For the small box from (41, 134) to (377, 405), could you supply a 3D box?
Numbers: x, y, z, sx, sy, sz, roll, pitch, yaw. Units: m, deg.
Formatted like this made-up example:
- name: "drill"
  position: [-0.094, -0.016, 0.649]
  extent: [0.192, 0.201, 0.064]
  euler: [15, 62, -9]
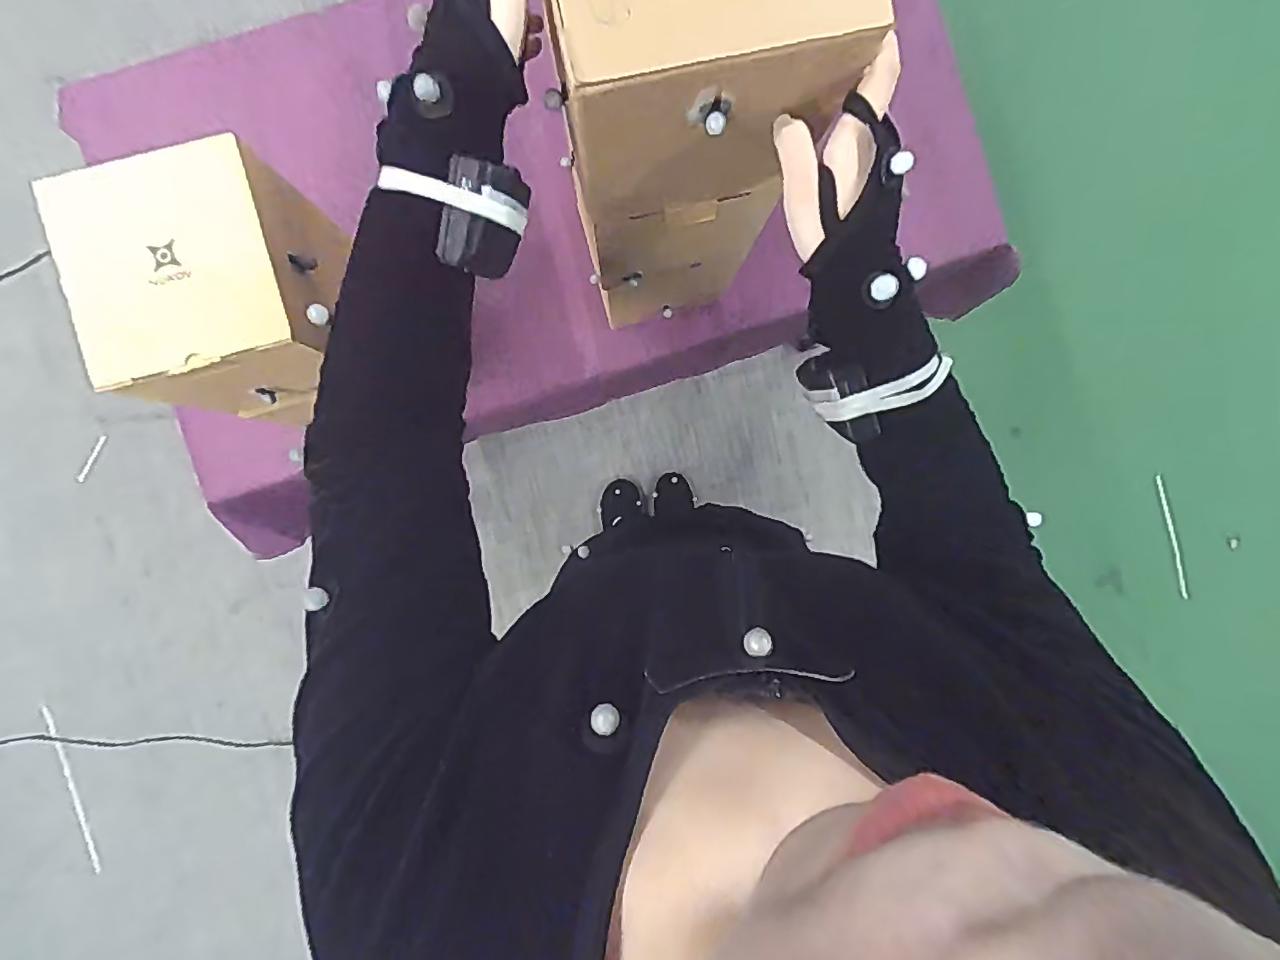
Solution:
- name: "small box"
  position: [-0.387, -0.182, 0.522]
  extent: [0.168, 0.176, 0.179]
  euler: [-15, 92, -1]

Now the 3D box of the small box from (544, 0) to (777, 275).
- name: "small box"
  position: [0.018, -0.316, 0.523]
  extent: [0.168, 0.176, 0.179]
  euler: [-13, 91, 0]
